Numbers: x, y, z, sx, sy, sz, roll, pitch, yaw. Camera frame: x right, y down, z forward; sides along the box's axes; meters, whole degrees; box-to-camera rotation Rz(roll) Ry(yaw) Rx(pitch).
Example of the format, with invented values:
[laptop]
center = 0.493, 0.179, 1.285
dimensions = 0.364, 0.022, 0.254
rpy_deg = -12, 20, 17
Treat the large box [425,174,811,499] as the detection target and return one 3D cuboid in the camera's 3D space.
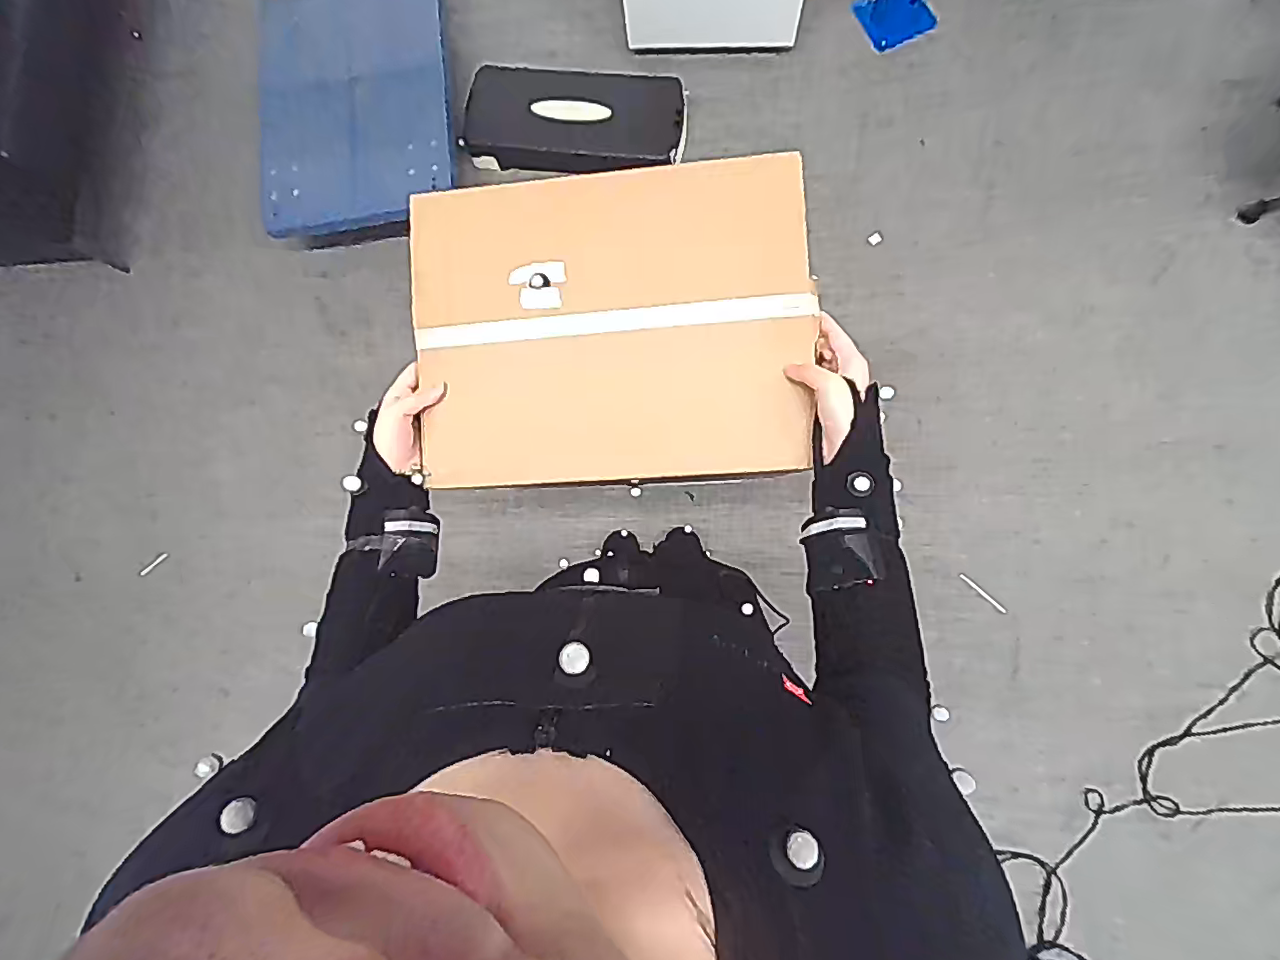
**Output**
[large box]
center = -0.014, -0.184, 0.712
dimensions = 0.408, 0.320, 0.320
rpy_deg = 8, 103, 10
